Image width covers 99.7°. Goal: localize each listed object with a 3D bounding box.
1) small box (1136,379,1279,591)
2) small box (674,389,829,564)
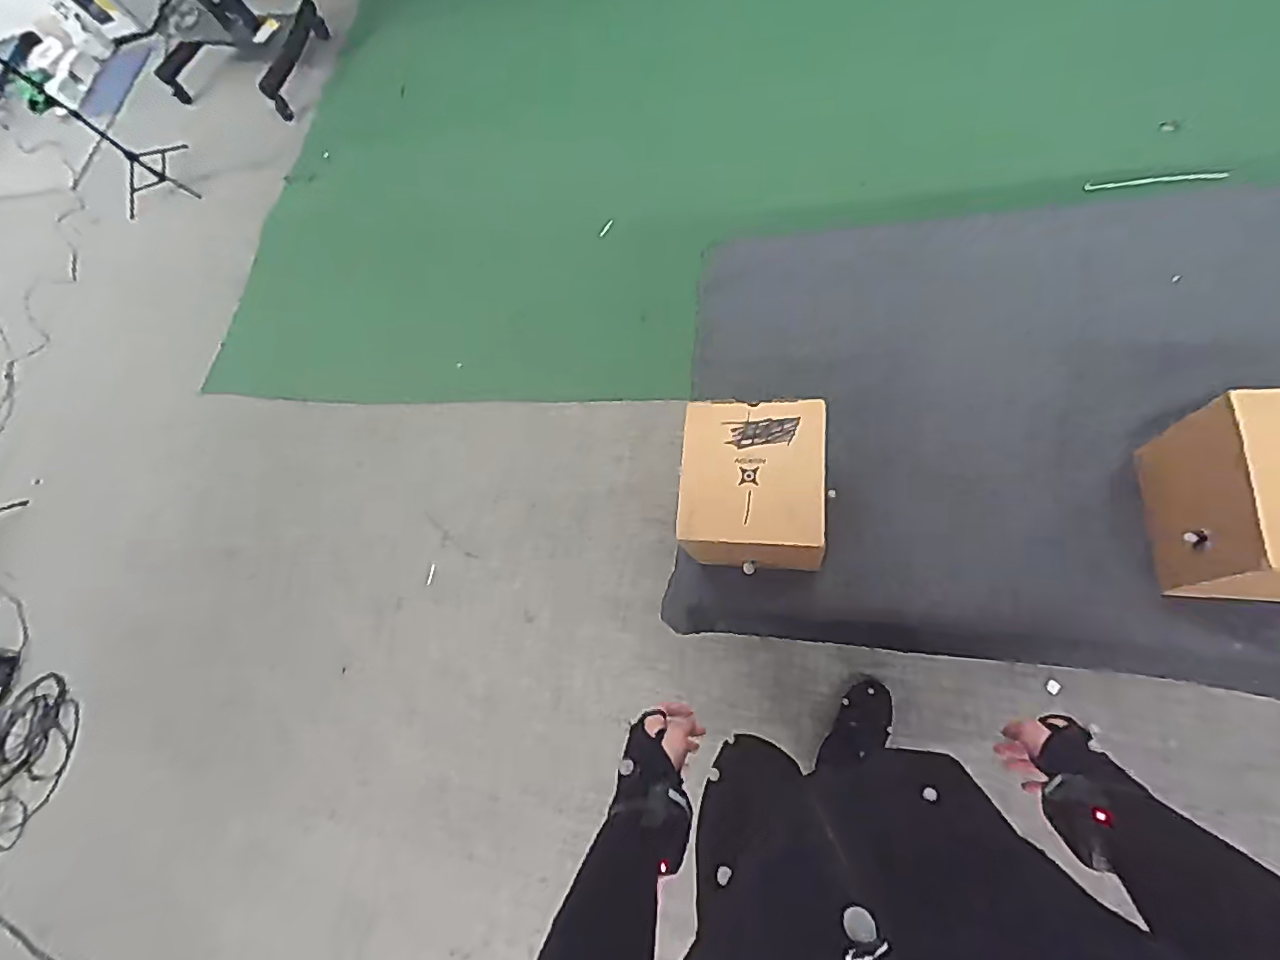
[{"bbox_3d":[0.646,0.014,0.535,0.168,0.176,0.179,1,71,16],"label":"small box"},{"bbox_3d":[0.146,0.001,0.685,0.168,0.176,0.179,1,73,17],"label":"small box"}]
